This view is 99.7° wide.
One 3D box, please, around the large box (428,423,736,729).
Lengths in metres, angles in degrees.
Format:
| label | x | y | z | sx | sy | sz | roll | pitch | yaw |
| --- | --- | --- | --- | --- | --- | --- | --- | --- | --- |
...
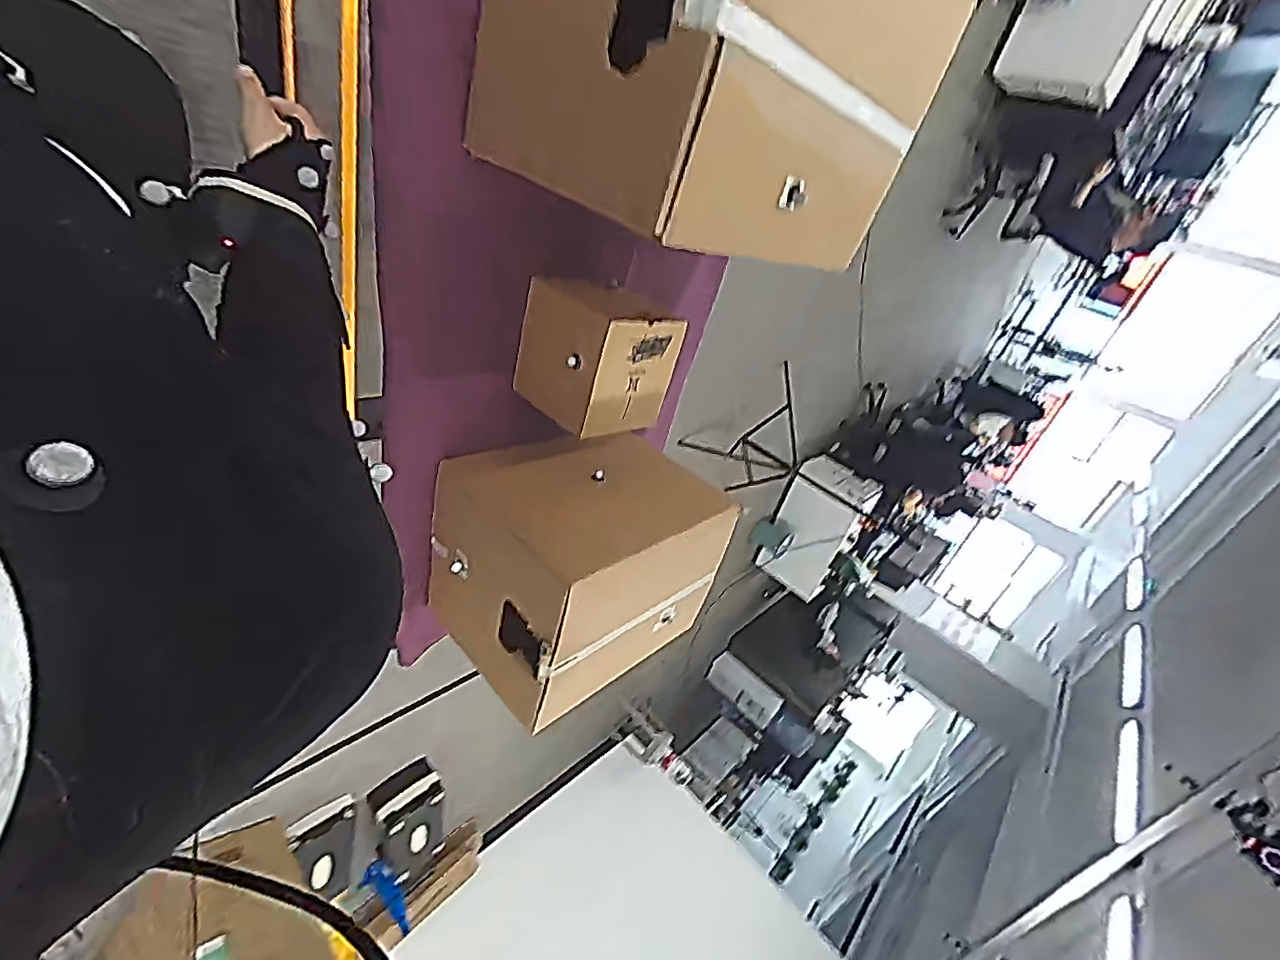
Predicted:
| label | x | y | z | sx | sy | sz | roll | pitch | yaw |
| --- | --- | --- | --- | --- | --- | --- | --- | --- | --- |
| large box | -0.105 | 0.127 | 0.942 | 0.408 | 0.320 | 0.320 | -20 | 136 | -47 |
